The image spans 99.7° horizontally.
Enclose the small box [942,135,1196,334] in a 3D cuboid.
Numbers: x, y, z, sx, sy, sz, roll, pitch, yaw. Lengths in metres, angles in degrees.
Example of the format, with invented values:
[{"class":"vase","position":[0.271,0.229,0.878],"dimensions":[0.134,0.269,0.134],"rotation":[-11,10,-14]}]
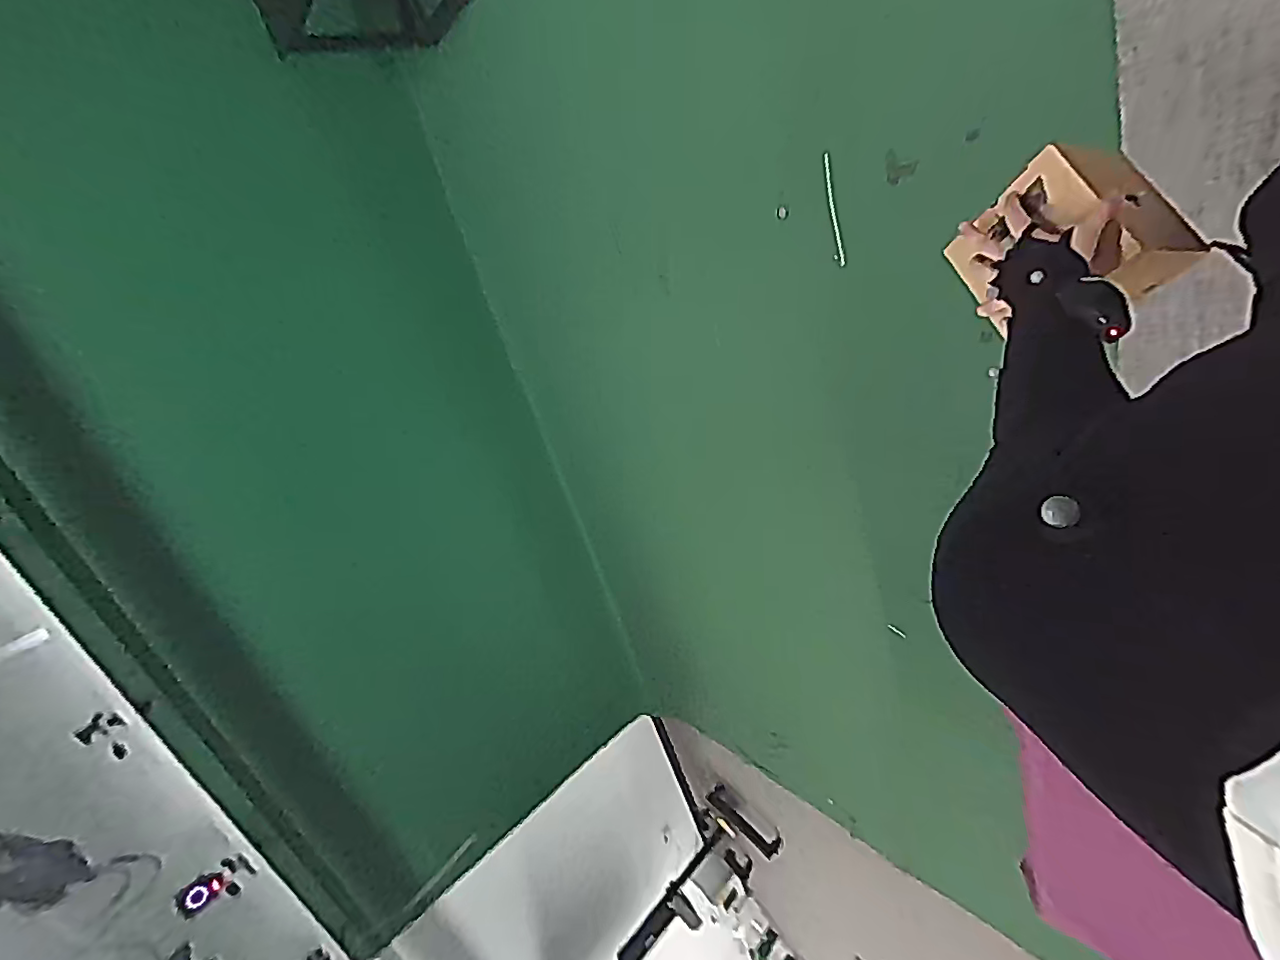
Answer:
[{"class":"small box","position":[0.557,-0.314,0.716],"dimensions":[0.179,0.176,0.168],"rotation":[69,153,20]}]
